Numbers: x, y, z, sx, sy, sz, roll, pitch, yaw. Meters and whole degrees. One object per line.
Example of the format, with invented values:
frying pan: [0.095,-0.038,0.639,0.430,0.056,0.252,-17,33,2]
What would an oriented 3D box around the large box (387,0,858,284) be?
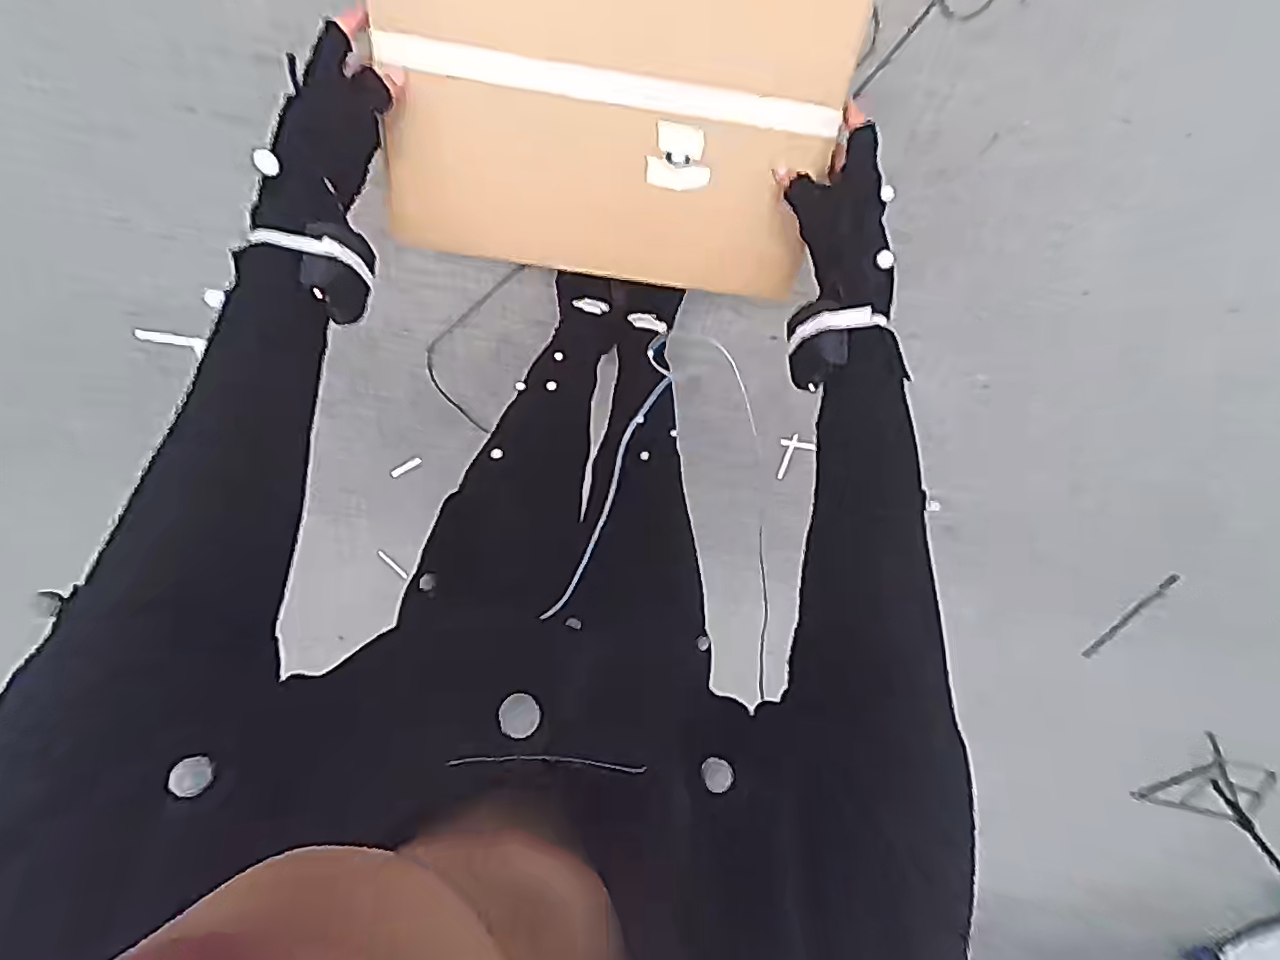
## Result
large box: [-0.024,-0.437,0.613,0.408,0.320,0.320,7,123,-4]
